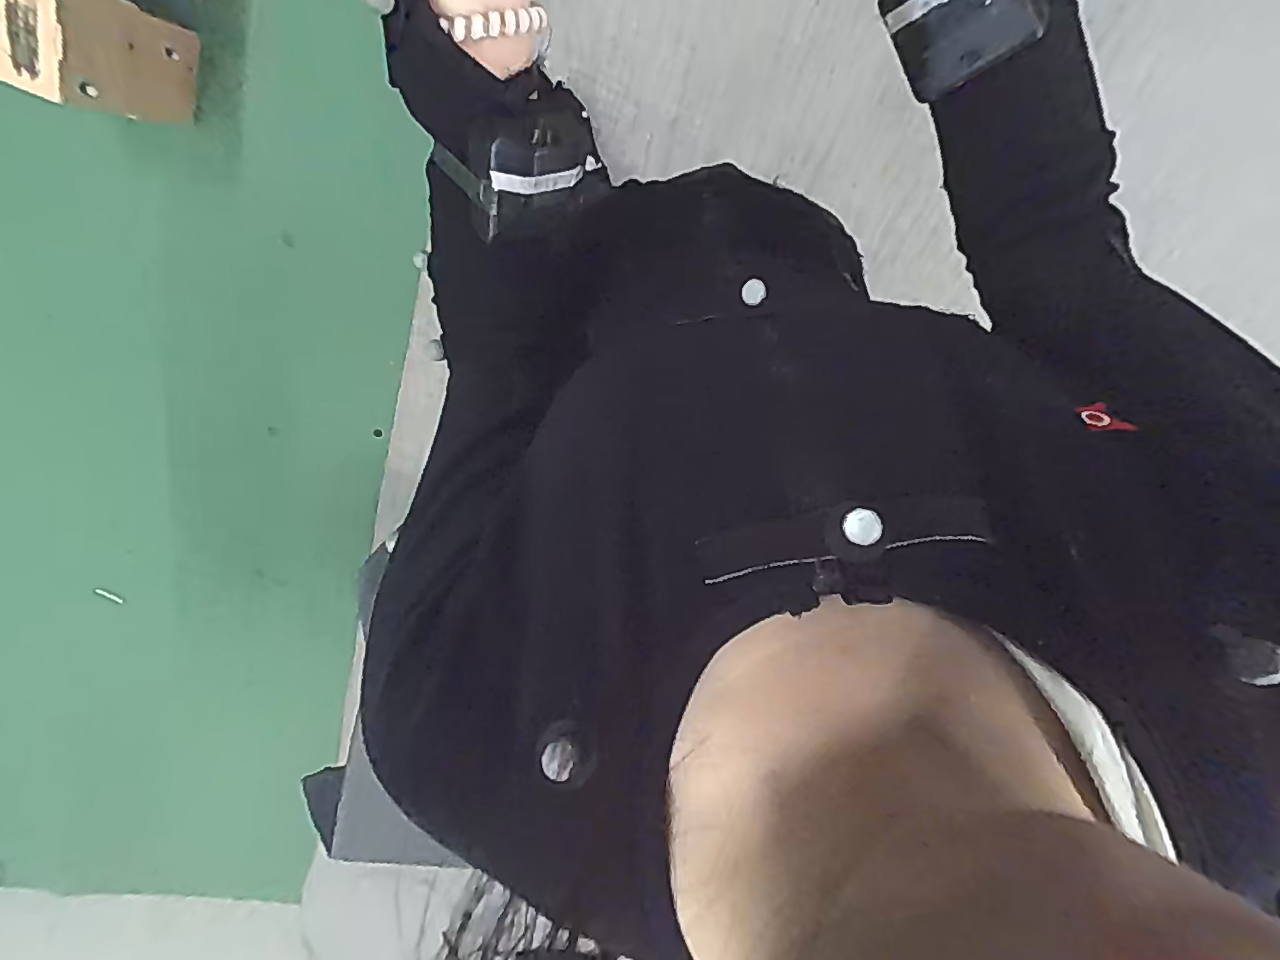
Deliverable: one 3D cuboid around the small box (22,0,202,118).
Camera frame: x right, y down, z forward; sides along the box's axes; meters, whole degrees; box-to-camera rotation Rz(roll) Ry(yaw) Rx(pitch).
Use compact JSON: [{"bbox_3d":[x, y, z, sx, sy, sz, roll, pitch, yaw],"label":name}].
[{"bbox_3d":[-0.935,-0.781,0.973,0.179,0.176,0.168,20,115,-17],"label":"small box"}]
